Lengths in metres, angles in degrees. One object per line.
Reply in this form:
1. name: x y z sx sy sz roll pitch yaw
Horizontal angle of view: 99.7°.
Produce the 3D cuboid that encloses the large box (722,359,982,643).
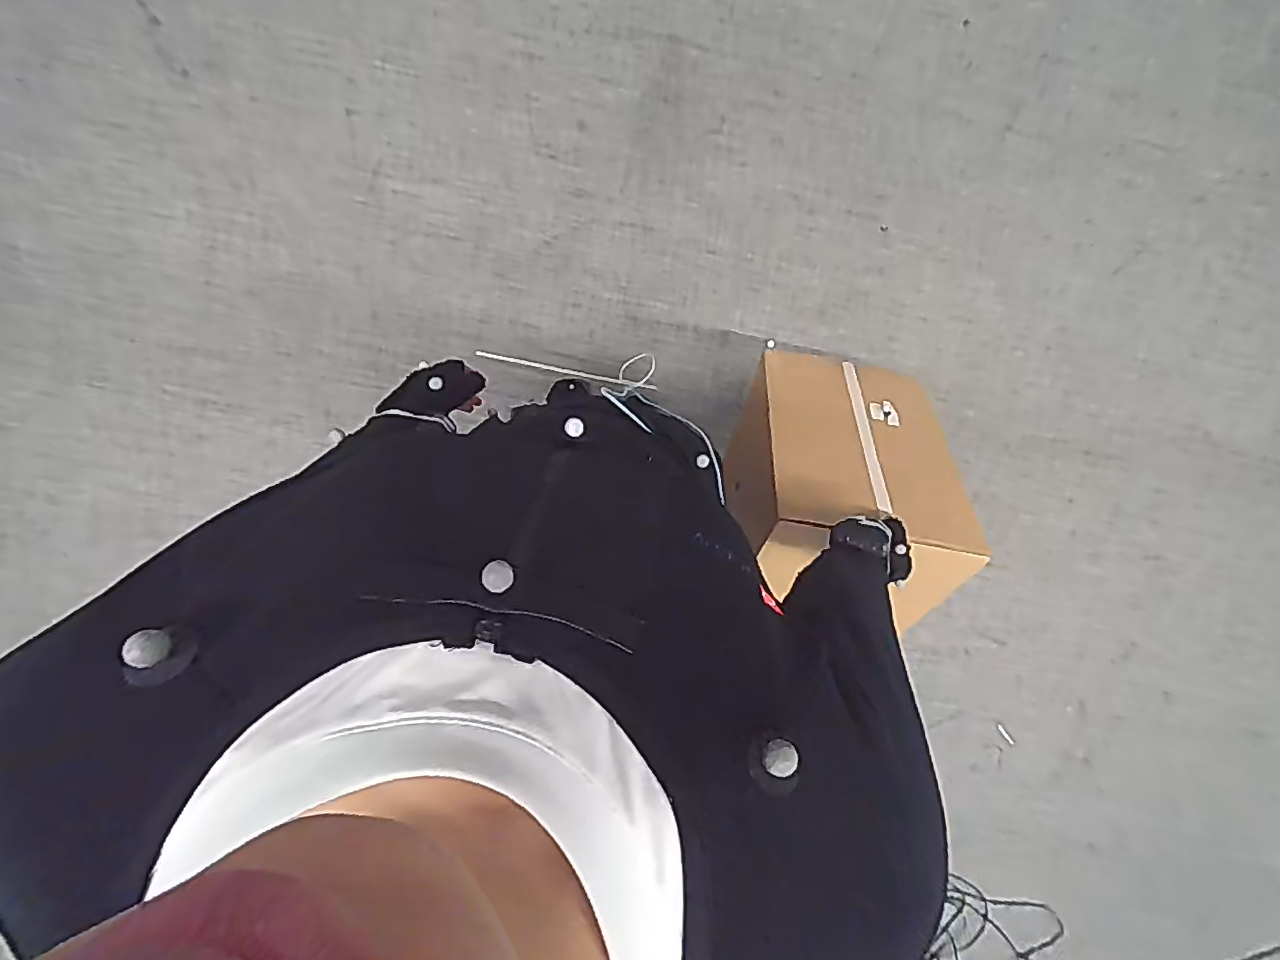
1. large box: 0.339 0.039 1.006 0.320 0.408 0.320 11 138 -3
